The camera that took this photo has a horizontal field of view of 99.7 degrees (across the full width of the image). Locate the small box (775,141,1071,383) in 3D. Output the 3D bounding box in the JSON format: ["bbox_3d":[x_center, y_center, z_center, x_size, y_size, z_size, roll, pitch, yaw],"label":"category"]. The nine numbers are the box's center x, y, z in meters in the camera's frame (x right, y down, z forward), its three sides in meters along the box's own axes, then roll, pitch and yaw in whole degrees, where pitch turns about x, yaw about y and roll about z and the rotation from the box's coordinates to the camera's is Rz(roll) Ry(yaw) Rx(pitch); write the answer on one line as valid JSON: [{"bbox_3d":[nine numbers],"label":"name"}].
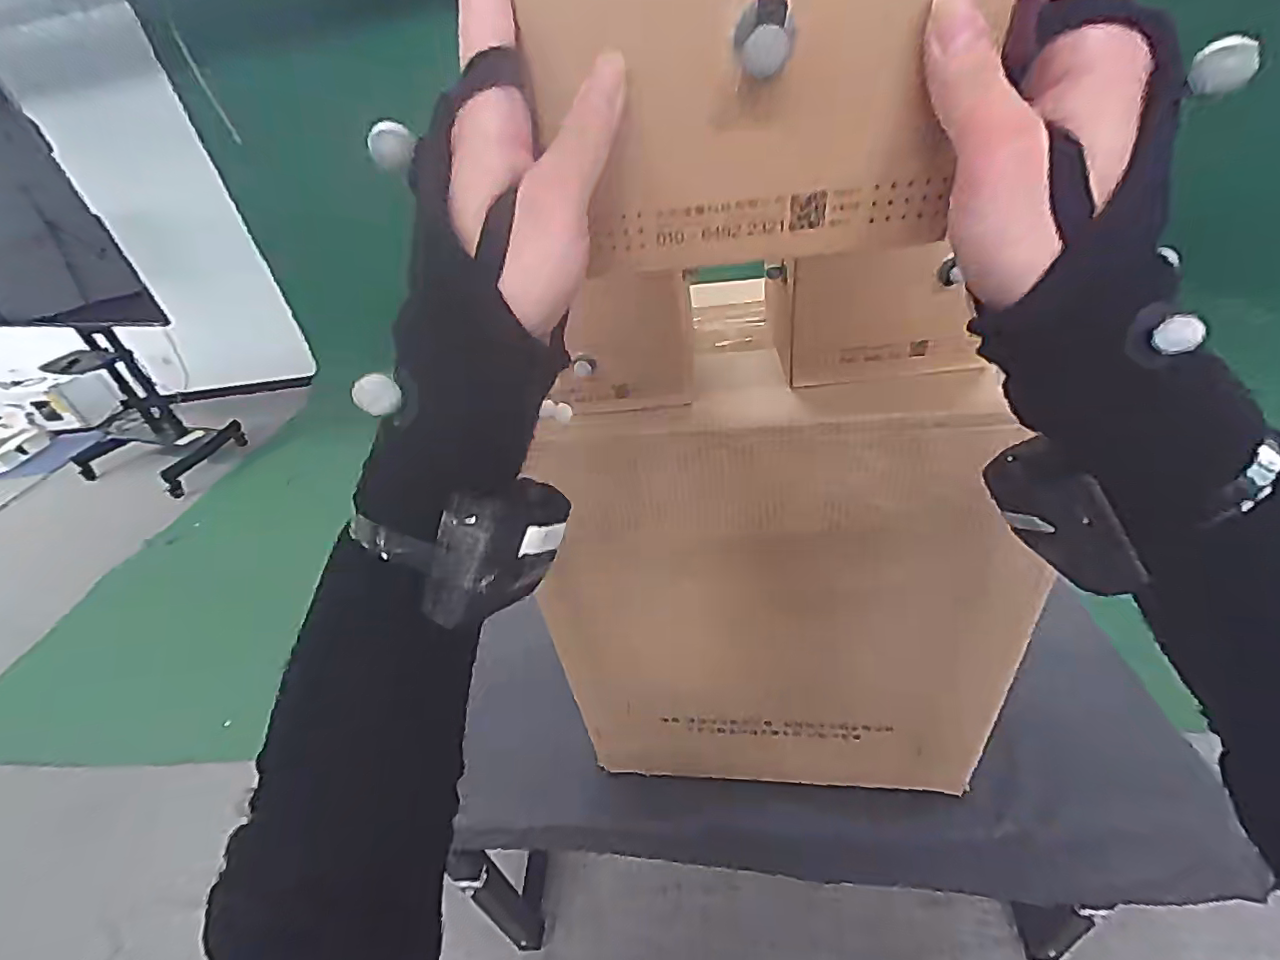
[{"bbox_3d":[0.219,-0.195,0.479,0.168,0.176,0.179,-3,38,4],"label":"small box"}]

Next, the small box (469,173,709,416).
[{"bbox_3d":[-0.027,-0.176,0.499,0.168,0.176,0.179,-3,39,11],"label":"small box"}]
